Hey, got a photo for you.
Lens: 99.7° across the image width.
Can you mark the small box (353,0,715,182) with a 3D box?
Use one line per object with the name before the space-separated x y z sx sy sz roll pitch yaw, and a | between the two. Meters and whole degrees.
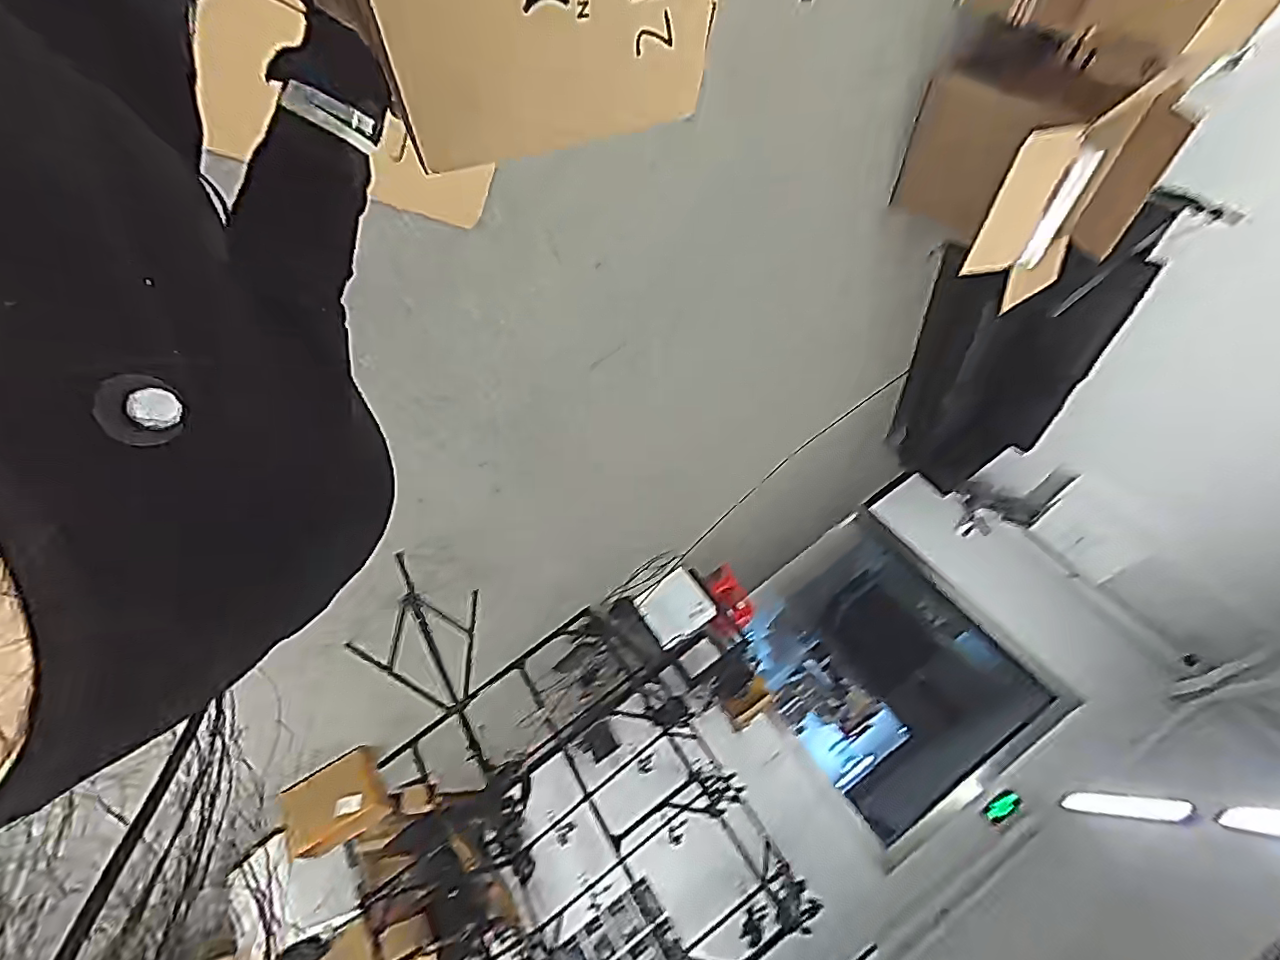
small box | -0.070 -0.298 0.276 0.179 0.176 0.168 -22 163 -12
